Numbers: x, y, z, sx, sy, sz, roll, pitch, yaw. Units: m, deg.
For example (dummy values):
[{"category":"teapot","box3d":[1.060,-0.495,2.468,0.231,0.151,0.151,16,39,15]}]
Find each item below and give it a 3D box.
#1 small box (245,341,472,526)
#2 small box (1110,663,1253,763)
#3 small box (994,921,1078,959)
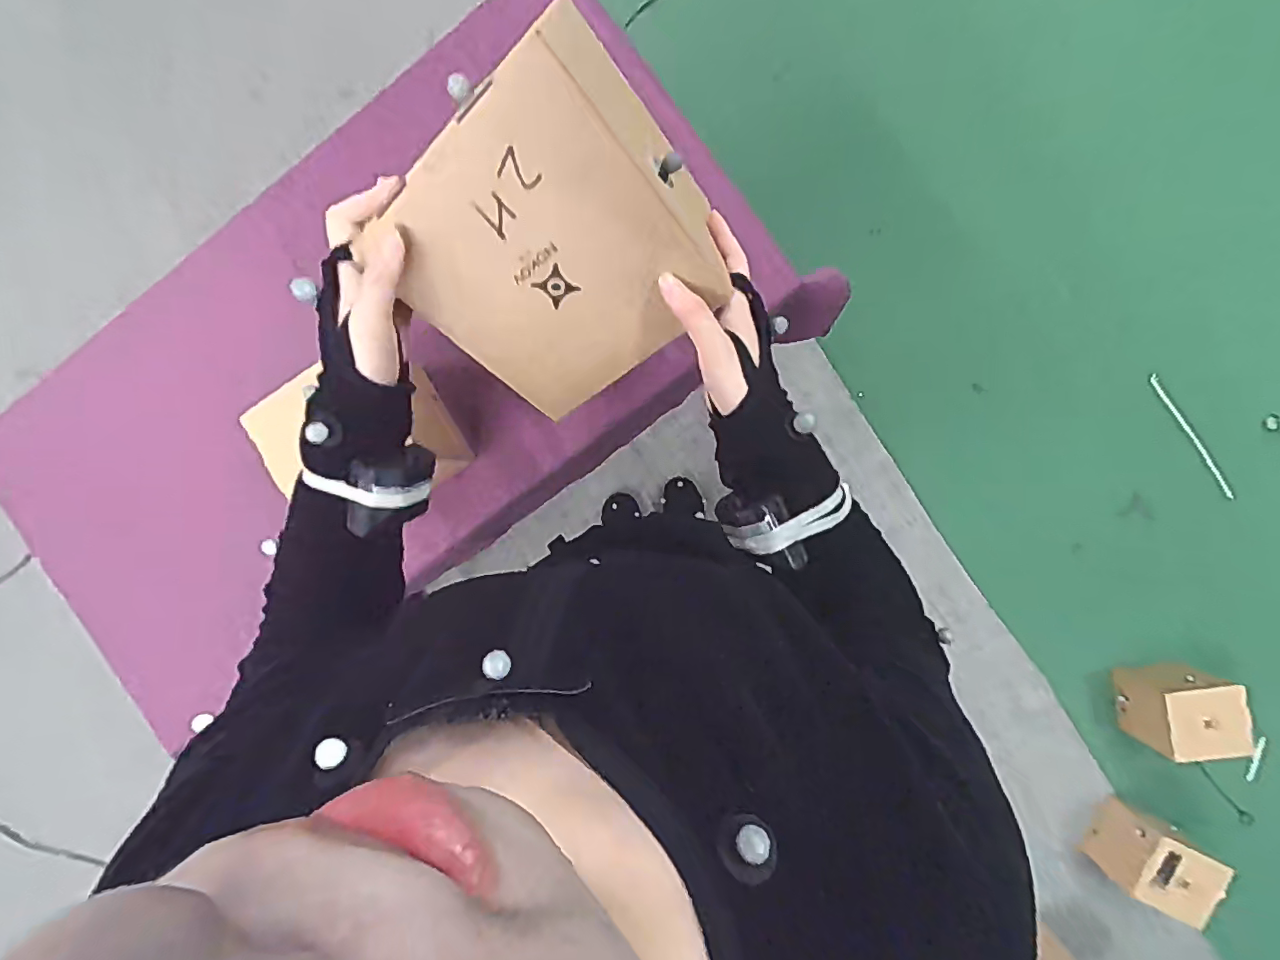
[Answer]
[{"category":"small box","box3d":[-0.363,-0.055,0.729,0.179,0.176,0.168,-32,88,5]},{"category":"small box","box3d":[1.319,0.563,1.328,0.179,0.176,0.168,-9,90,5]},{"category":"small box","box3d":[1.045,1.279,1.358,0.179,0.176,0.168,-45,87,5]}]
